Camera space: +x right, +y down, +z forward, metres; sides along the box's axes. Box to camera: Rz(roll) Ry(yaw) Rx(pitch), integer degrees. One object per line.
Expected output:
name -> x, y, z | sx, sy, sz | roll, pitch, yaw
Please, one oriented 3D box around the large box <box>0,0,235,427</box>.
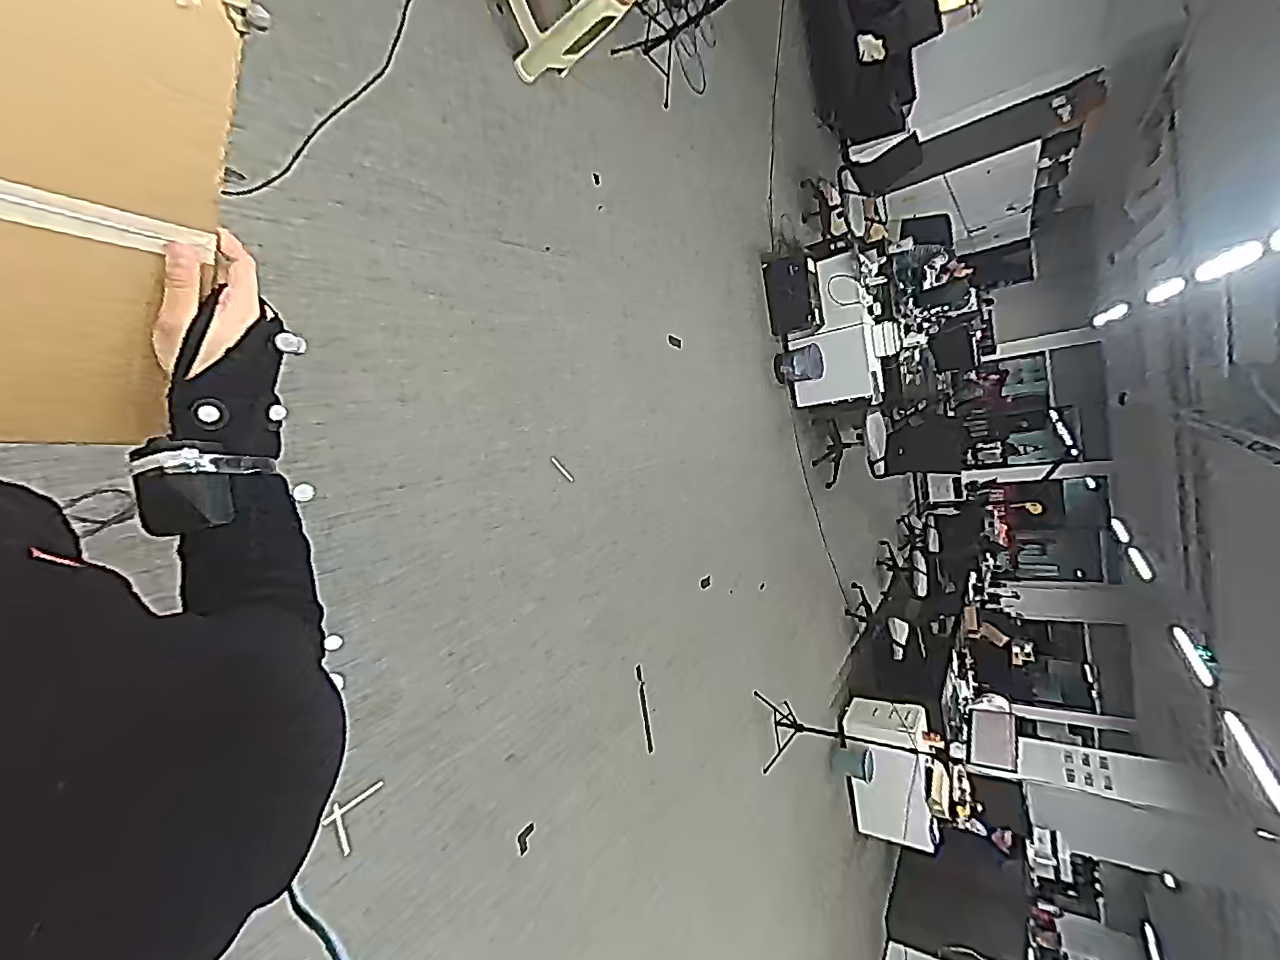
large box -> -0.531, -0.237, 0.294 | 0.408, 0.320, 0.320 | -6, 128, -55
